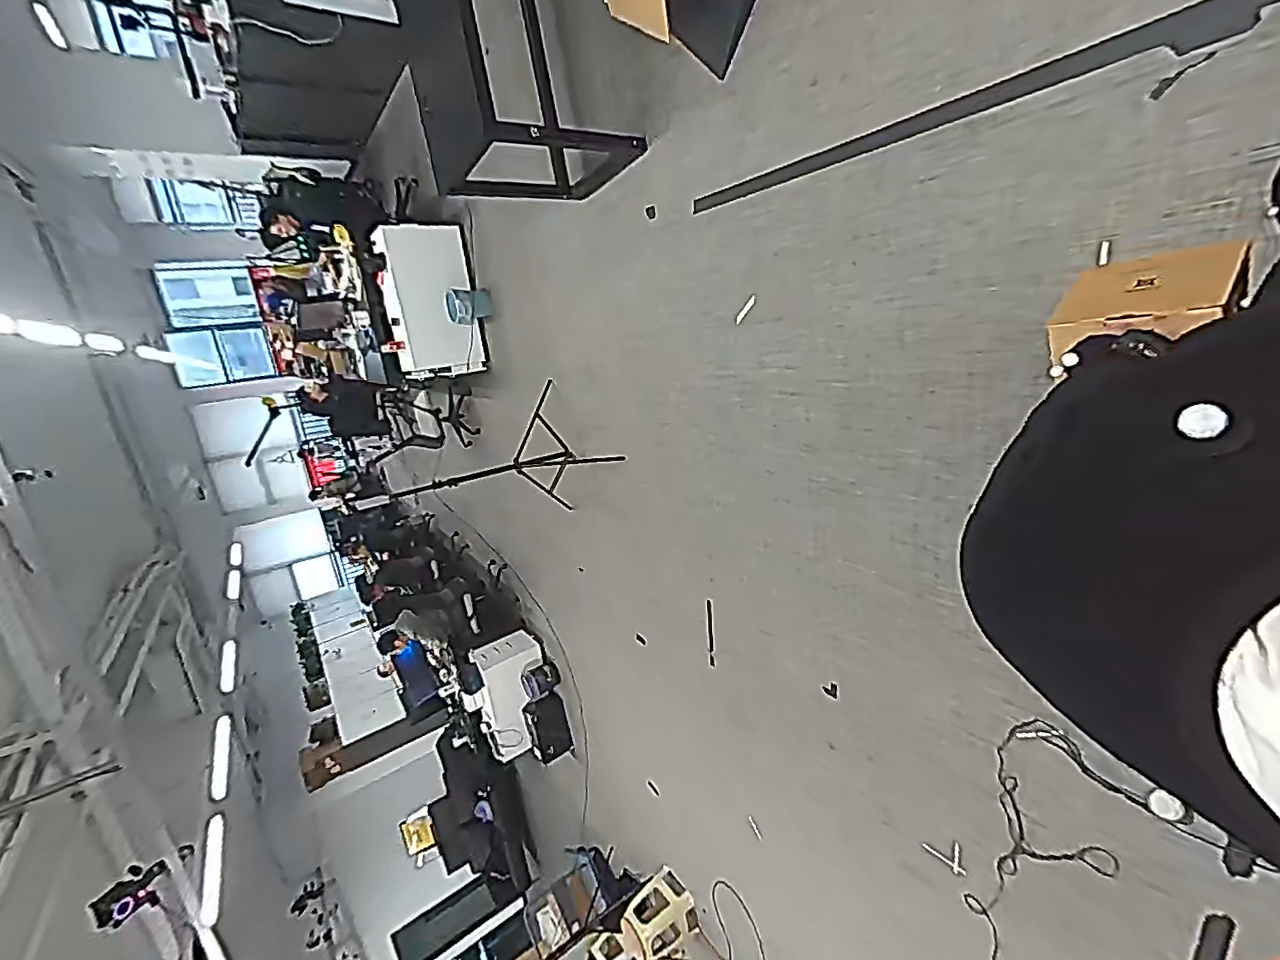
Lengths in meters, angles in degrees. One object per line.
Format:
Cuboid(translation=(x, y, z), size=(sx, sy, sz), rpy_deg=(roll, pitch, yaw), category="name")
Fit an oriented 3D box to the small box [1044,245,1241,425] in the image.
Cuboid(translation=(0.691, -0.189, 0.745), size=(0.168, 0.179, 0.176), rpy_deg=(10, 136, 51), category="small box")
